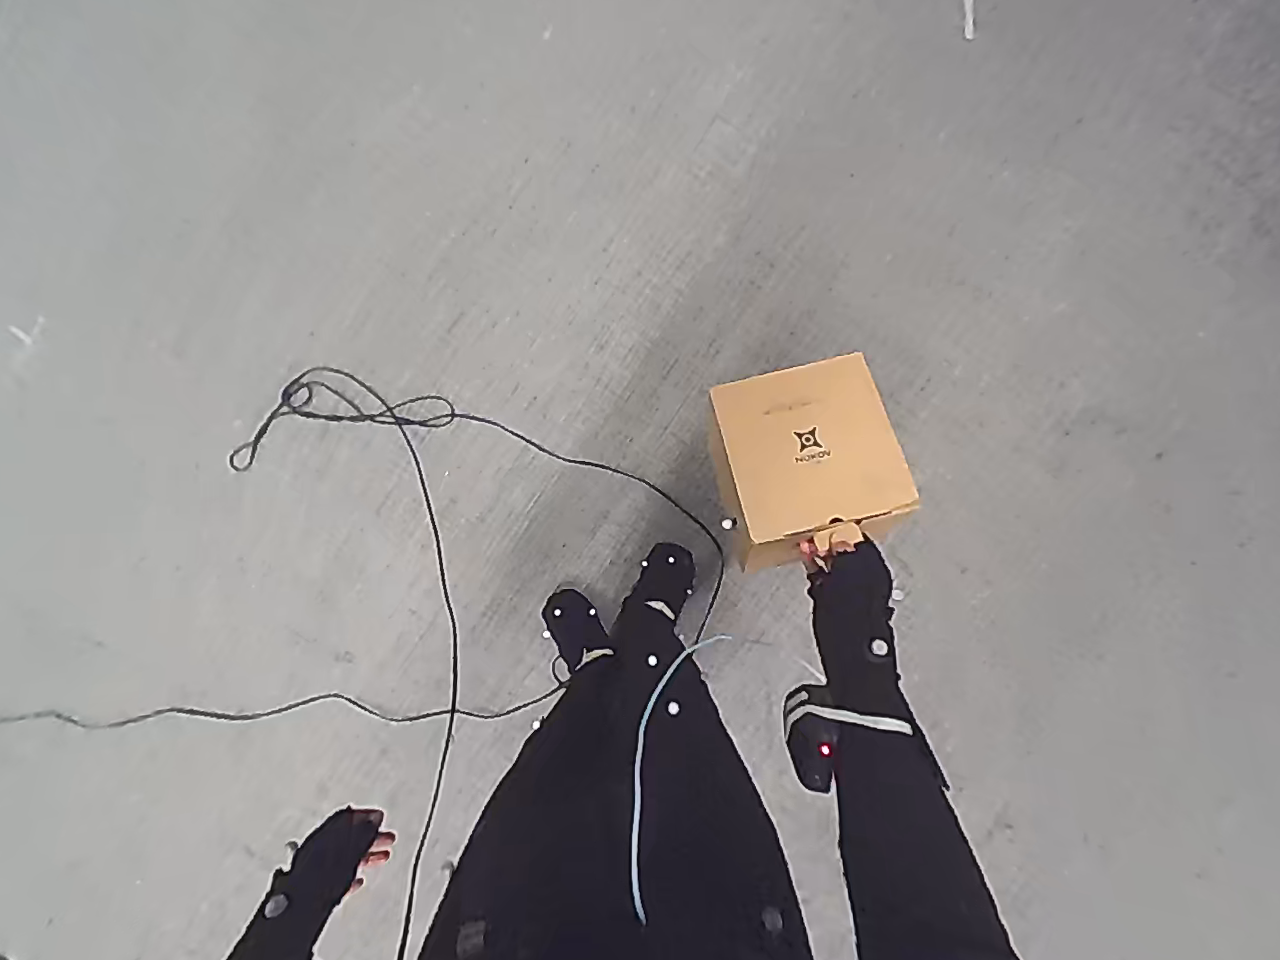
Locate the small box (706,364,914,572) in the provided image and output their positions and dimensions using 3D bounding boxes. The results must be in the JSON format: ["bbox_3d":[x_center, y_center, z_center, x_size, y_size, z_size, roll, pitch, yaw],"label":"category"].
[{"bbox_3d":[0.176,0.000,0.617,0.168,0.176,0.179,-13,70,3],"label":"small box"}]
